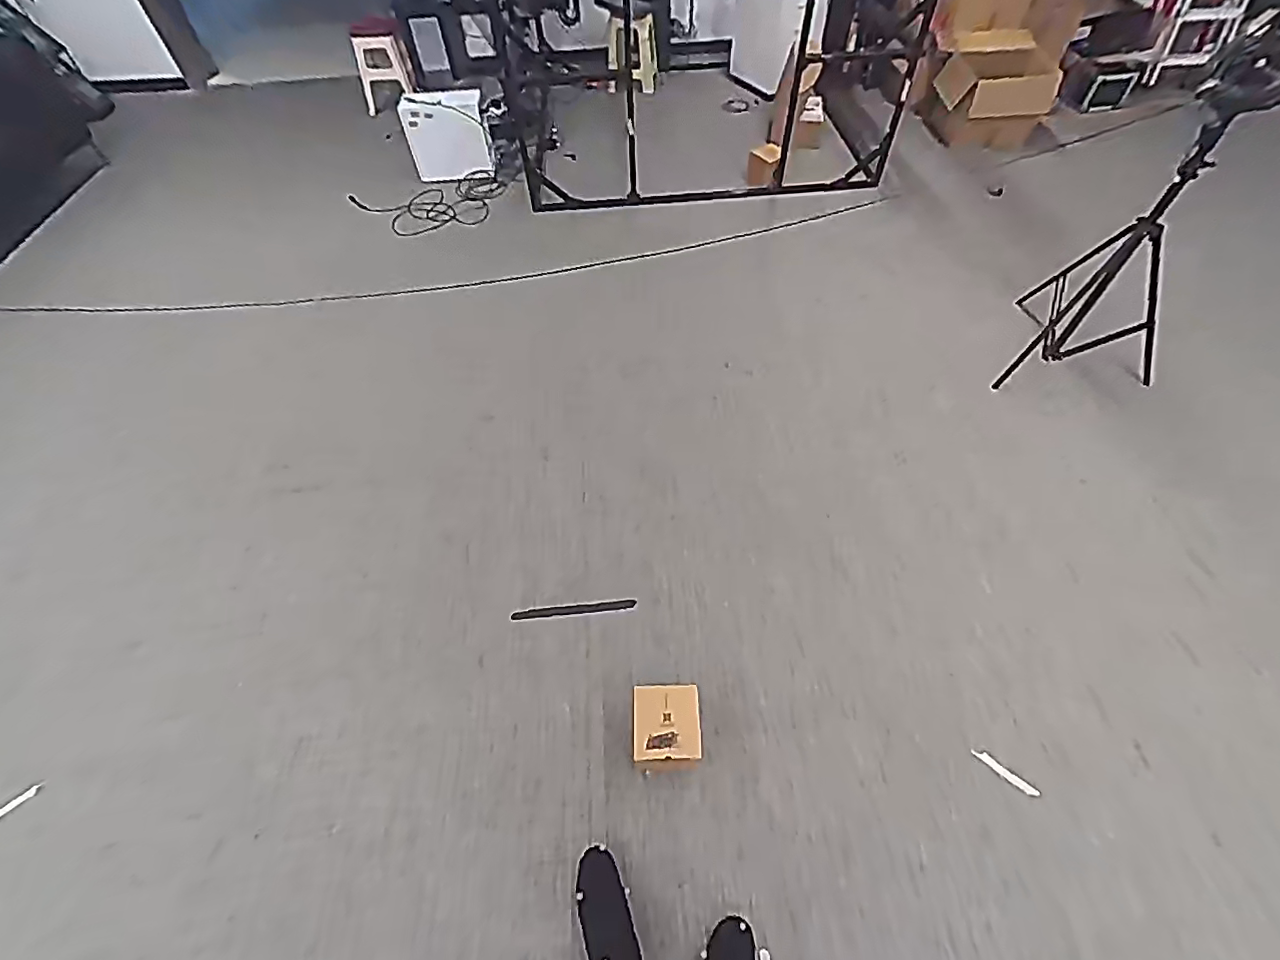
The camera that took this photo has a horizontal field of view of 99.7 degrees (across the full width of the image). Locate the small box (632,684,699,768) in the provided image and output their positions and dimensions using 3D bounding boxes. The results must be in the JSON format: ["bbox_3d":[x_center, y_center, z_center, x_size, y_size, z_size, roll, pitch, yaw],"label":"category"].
[{"bbox_3d":[0.065,0.645,1.409,0.168,0.176,0.179,-1,54,1],"label":"small box"}]
